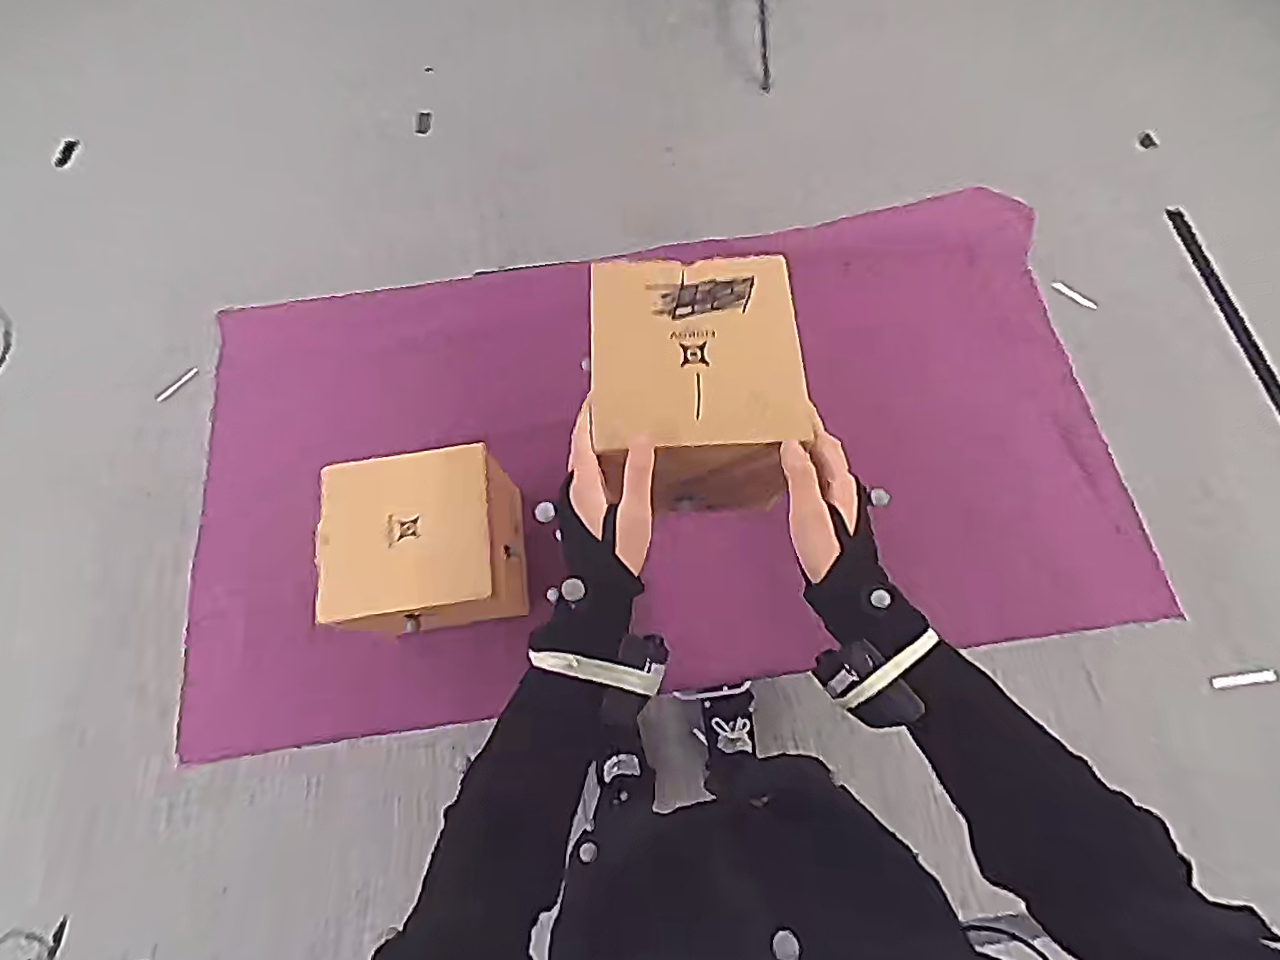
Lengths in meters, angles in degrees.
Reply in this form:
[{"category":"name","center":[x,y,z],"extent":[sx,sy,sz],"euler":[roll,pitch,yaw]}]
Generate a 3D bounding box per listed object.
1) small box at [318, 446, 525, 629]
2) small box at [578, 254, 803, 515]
[{"category":"small box","center":[-0.237,0.075,0.627],"extent":[0.179,0.176,0.168],"euler":[-9,71,0]},{"category":"small box","center":[0.035,-0.077,0.494],"extent":[0.168,0.176,0.179],"euler":[-2,69,0]}]
